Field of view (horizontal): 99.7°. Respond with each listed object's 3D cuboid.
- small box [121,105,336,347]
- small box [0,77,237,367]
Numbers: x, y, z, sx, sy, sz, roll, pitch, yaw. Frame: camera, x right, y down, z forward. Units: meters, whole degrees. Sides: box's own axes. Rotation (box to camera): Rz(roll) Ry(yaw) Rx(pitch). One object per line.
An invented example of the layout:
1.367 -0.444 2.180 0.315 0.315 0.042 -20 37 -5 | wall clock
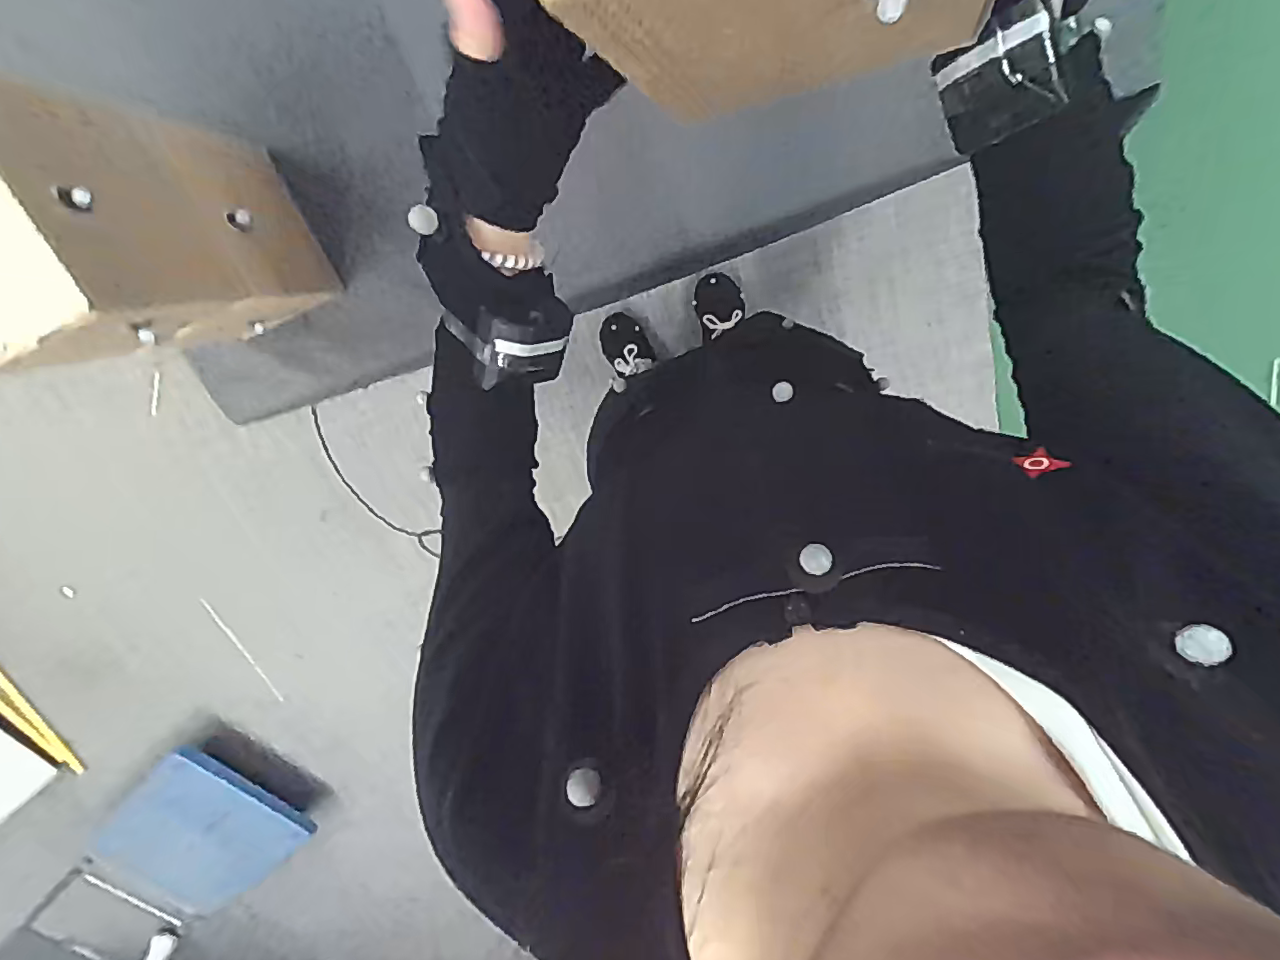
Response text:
-0.490 -0.267 0.600 0.168 0.176 0.179 -19 110 10 | small box
-0.498 -0.206 0.449 0.168 0.176 0.179 -18 110 9 | small box
